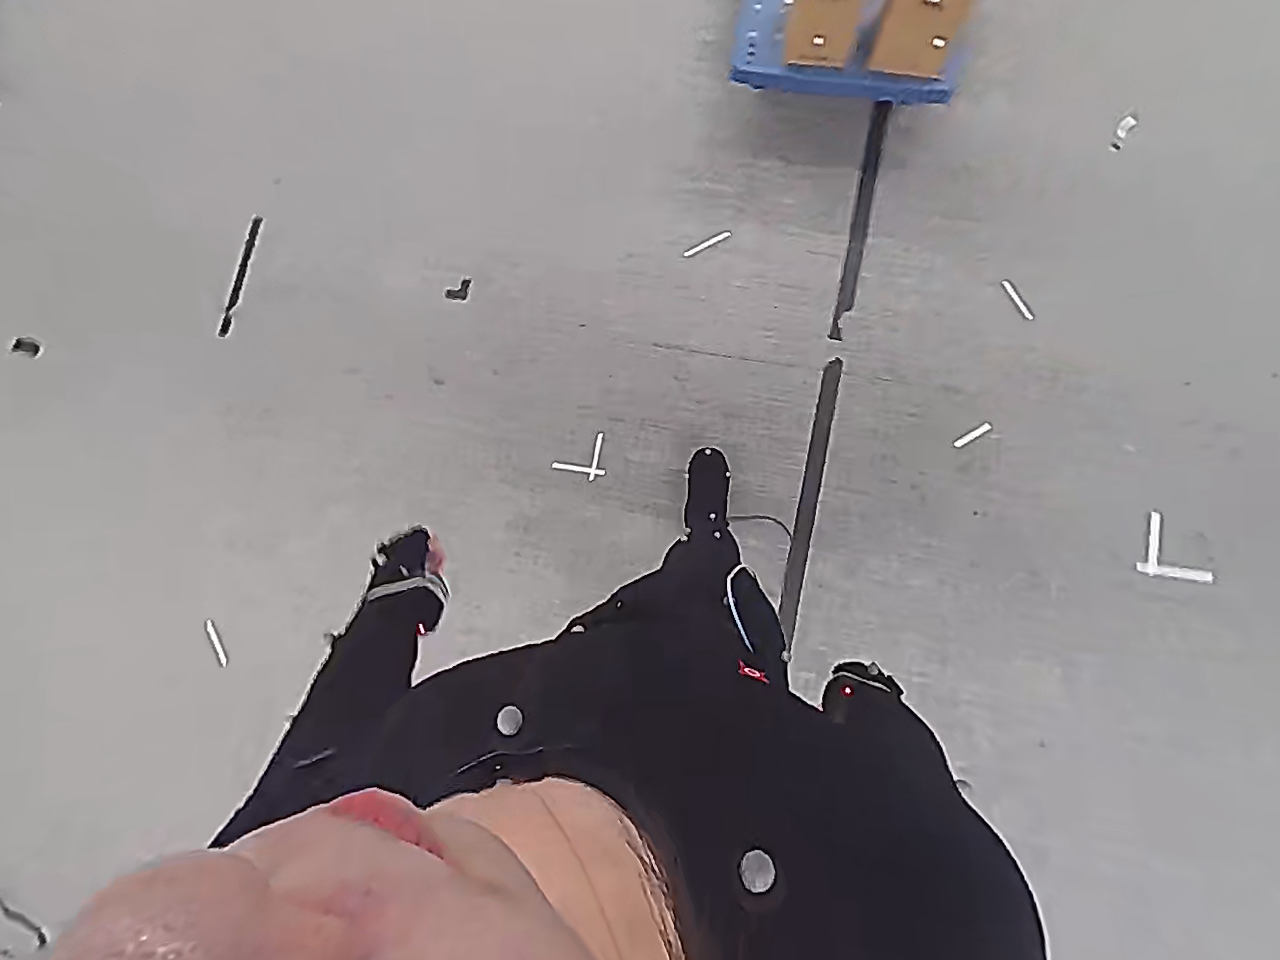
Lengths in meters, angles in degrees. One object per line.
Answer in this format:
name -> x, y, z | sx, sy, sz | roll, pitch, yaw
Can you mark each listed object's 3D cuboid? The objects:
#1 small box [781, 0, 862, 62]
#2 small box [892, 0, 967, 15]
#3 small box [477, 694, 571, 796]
small box -> 0.448, -1.169, 1.320 | 0.168, 0.176, 0.179 | 9, 85, 5
small box -> 0.646, -1.139, 1.131 | 0.168, 0.176, 0.179 | 13, 86, 6
small box -> -0.292, 0.677, 1.405 | 0.179, 0.176, 0.168 | 13, 86, 8
